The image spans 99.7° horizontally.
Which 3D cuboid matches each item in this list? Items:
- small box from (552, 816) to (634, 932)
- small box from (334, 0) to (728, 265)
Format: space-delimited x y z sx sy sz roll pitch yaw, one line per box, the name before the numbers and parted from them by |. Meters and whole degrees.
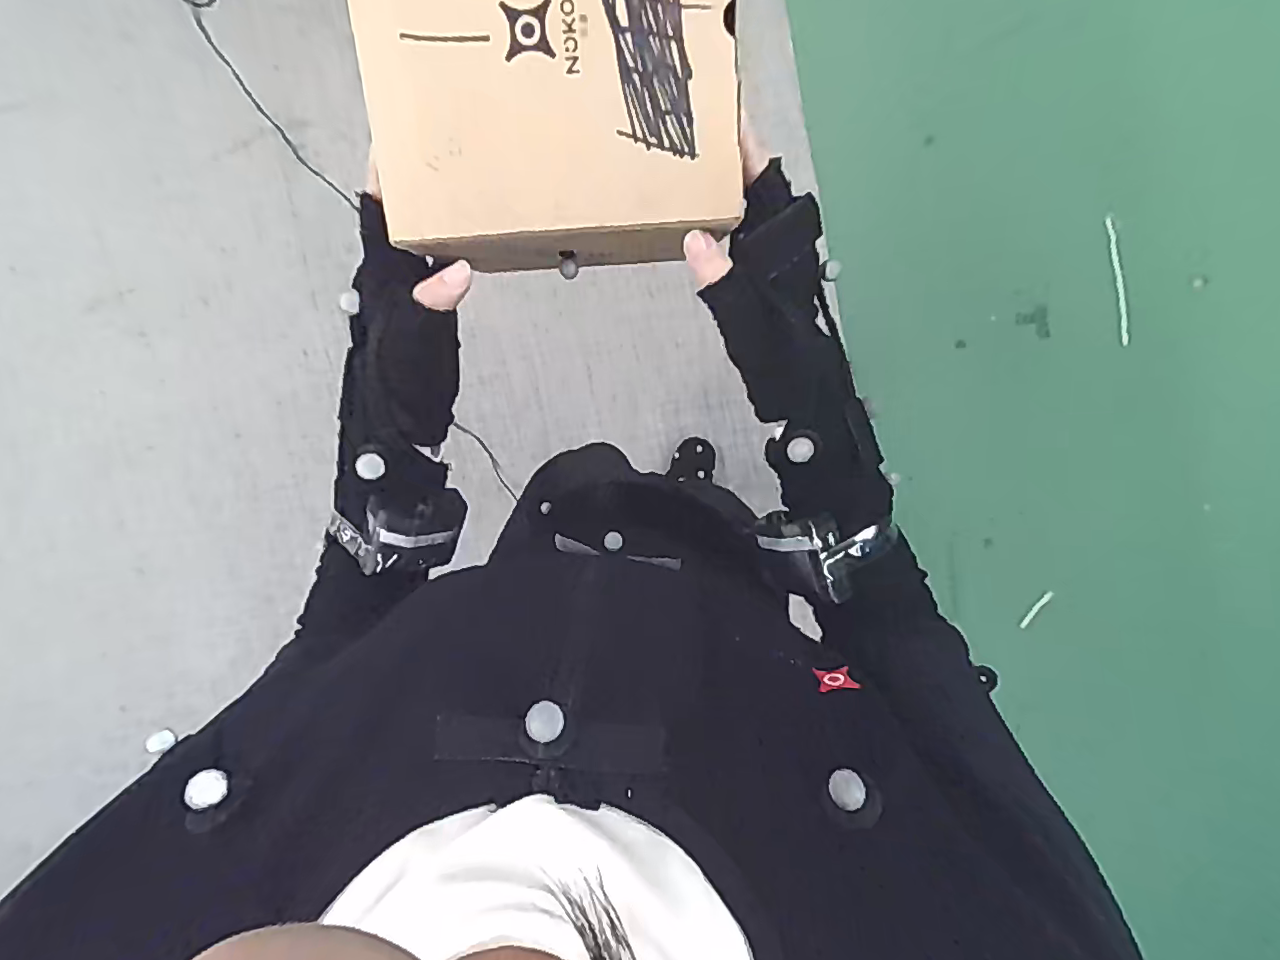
small box | -0.113 0.989 1.377 0.168 0.176 0.179 -12 95 5
small box | -0.048 -0.225 0.319 0.179 0.176 0.168 -3 106 1
